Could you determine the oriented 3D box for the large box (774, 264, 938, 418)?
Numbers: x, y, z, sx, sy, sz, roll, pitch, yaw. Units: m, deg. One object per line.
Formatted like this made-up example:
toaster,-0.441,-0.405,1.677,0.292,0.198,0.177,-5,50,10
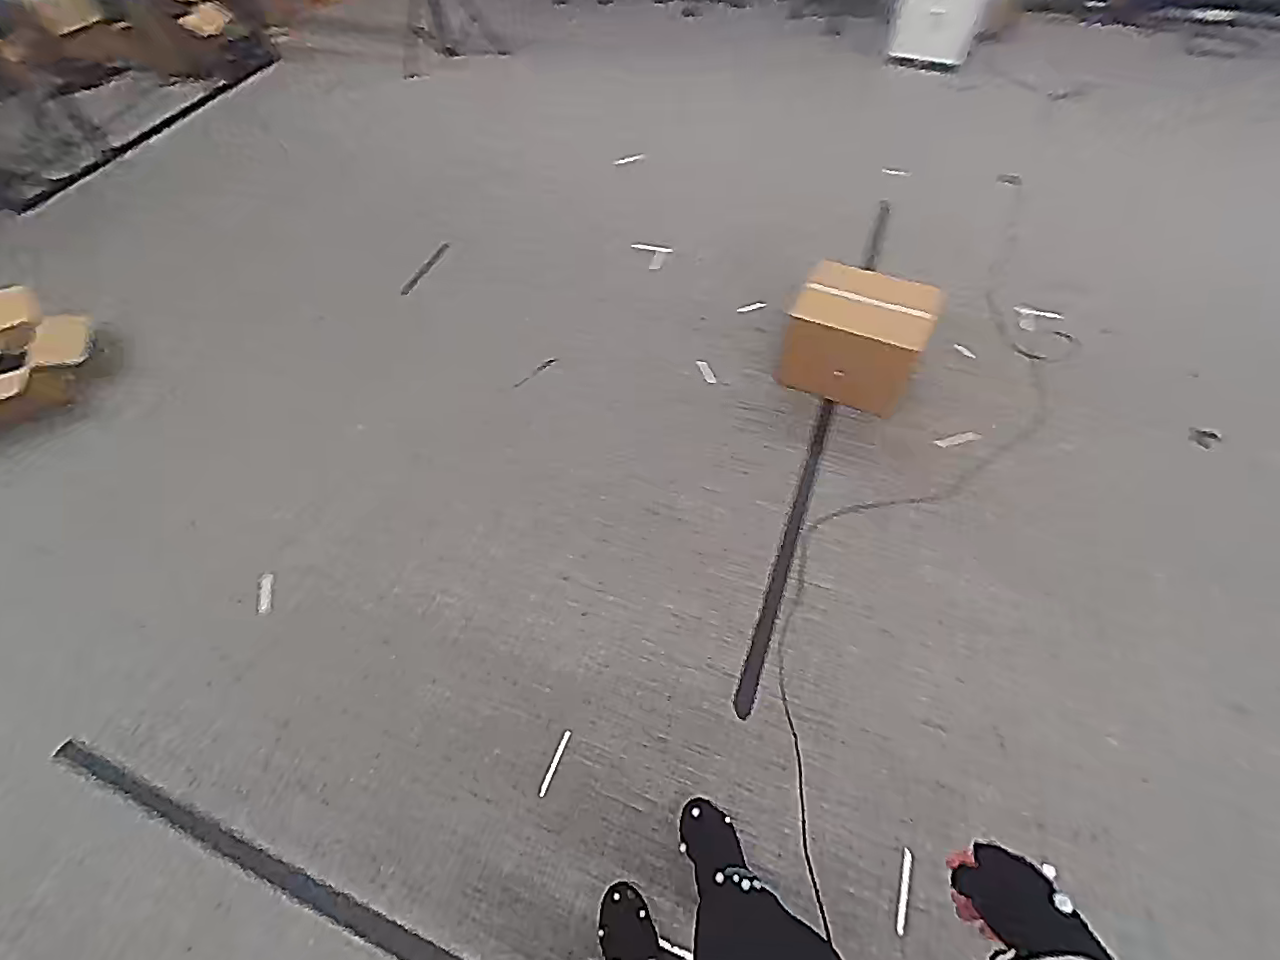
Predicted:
large box,0.714,-0.471,1.834,0.408,0.320,0.320,23,62,18
